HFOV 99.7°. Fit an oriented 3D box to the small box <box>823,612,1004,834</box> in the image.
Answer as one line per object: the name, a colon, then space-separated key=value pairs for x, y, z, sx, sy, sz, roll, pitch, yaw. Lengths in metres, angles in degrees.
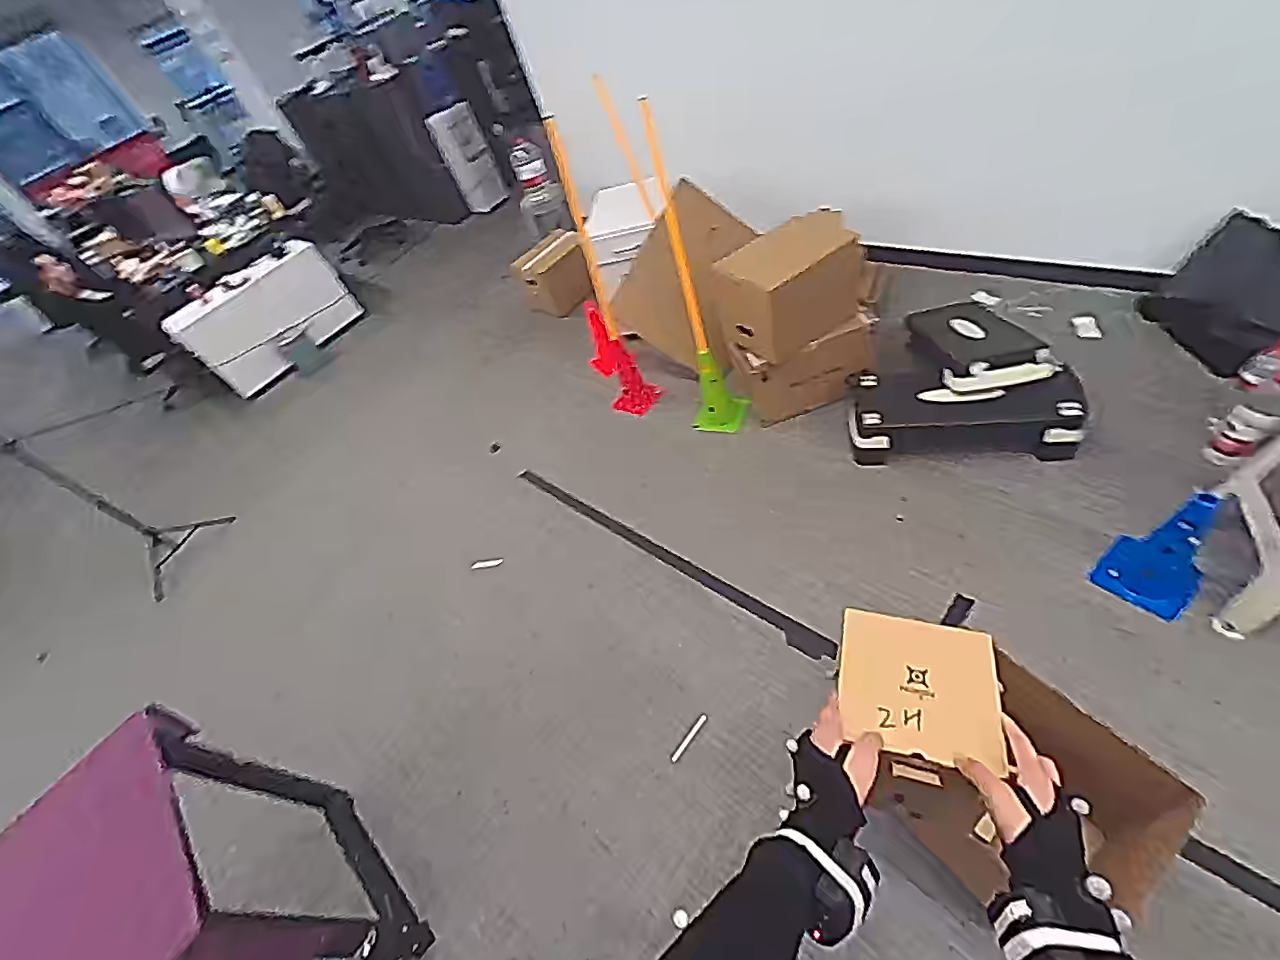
small box: x=0.323 y=0.296 z=0.669 sx=0.168 sy=0.176 sz=0.179 roll=6 pitch=44 yaw=20
